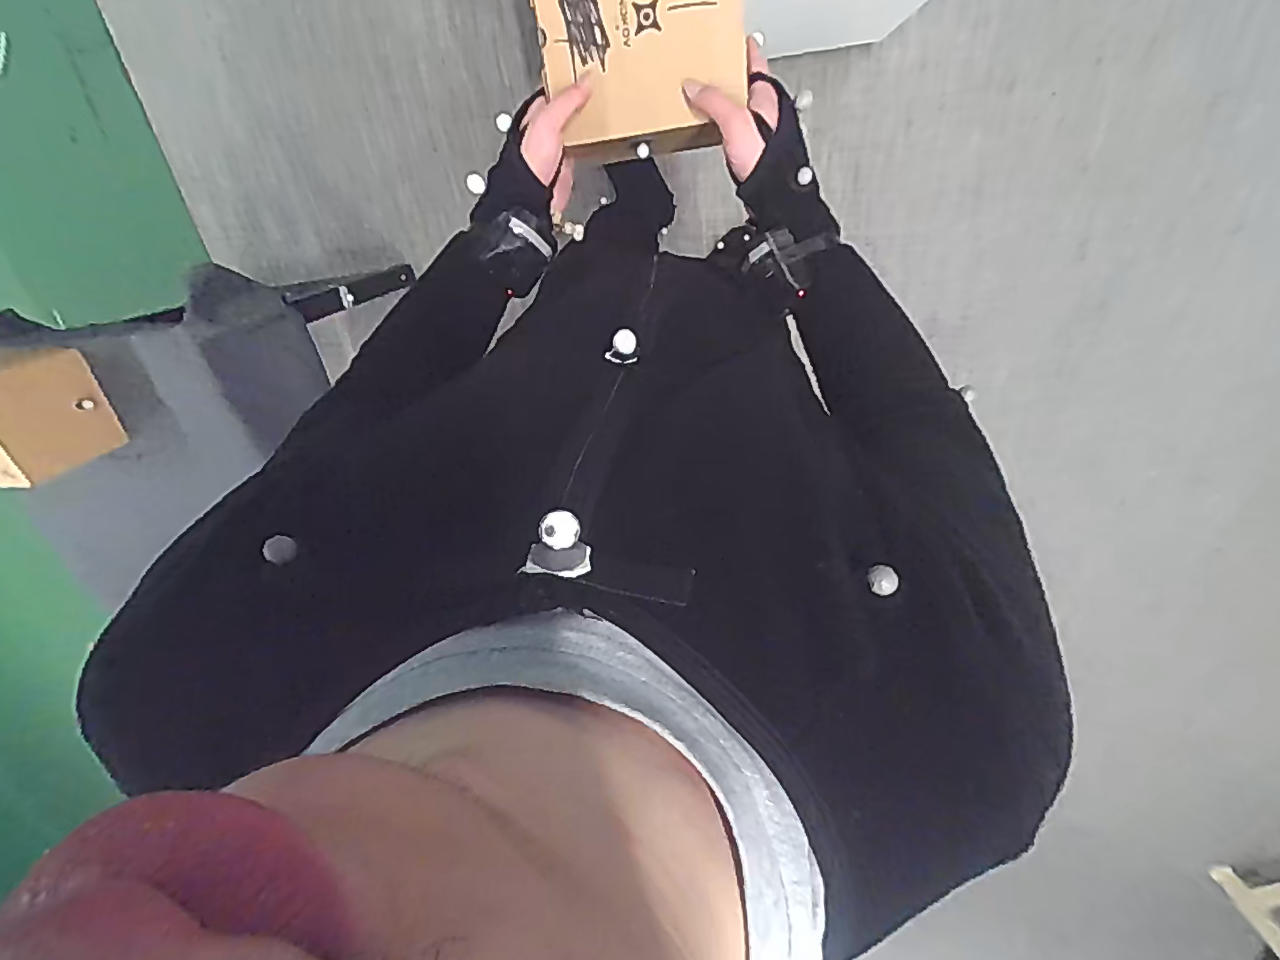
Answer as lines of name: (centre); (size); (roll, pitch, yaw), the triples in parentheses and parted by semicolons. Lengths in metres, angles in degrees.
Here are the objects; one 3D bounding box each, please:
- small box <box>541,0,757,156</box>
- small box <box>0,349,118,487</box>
small box: (0.018, -0.411, 0.502); (0.179, 0.176, 0.168); (-2, 116, 10)
small box: (-1.013, -0.105, 0.858); (0.168, 0.176, 0.179); (1, 120, 8)
